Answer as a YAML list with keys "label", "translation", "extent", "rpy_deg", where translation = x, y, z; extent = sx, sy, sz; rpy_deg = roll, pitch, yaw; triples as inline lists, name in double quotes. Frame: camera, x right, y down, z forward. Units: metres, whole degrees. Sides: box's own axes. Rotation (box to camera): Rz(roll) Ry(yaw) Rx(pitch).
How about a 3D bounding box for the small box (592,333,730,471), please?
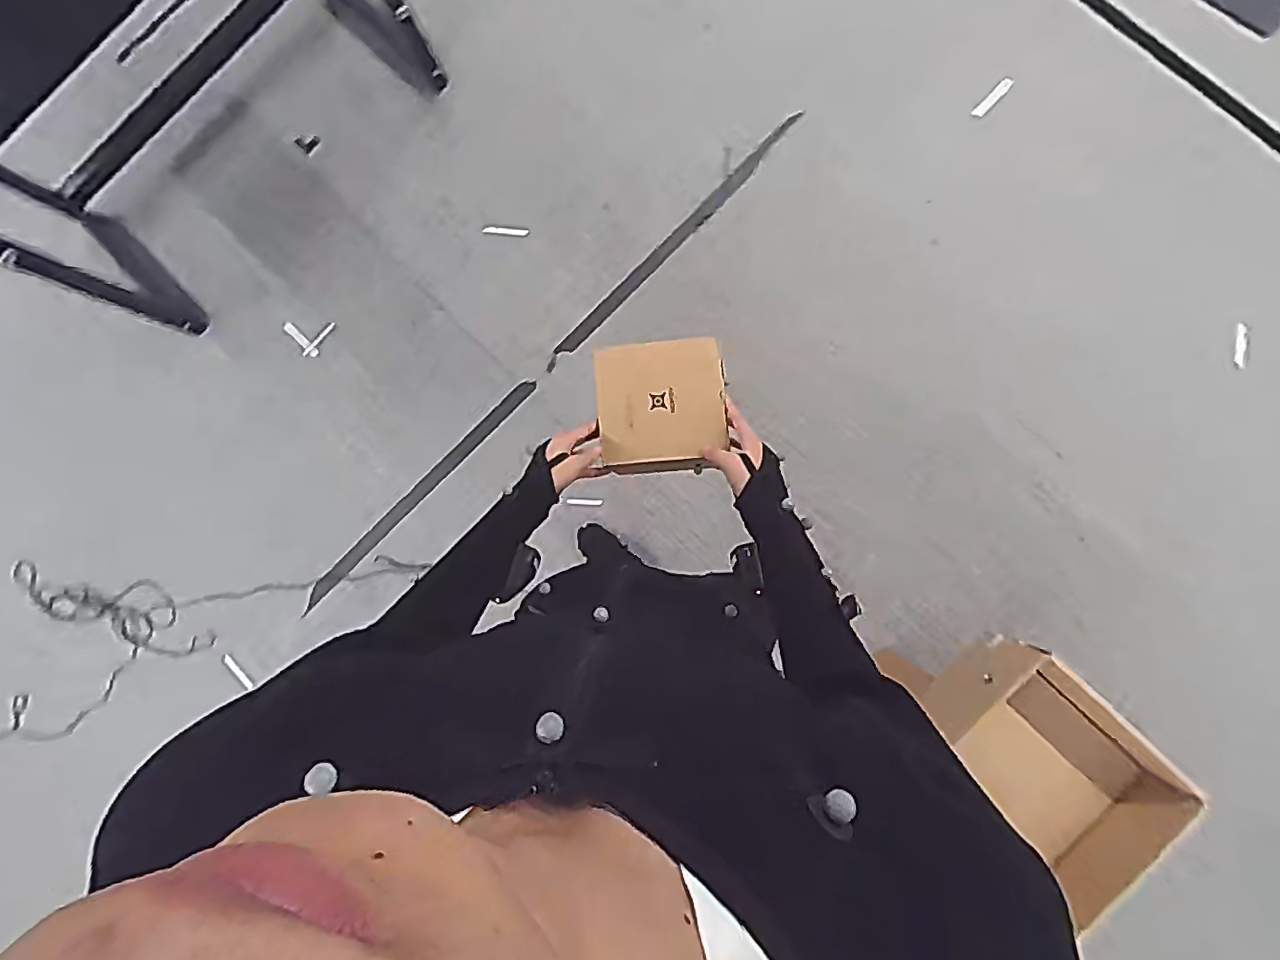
- label: "small box"
  translation: [0.031, -0.106, 0.805]
  extent: [0.179, 0.176, 0.168]
  rpy_deg: [-5, 86, 4]
